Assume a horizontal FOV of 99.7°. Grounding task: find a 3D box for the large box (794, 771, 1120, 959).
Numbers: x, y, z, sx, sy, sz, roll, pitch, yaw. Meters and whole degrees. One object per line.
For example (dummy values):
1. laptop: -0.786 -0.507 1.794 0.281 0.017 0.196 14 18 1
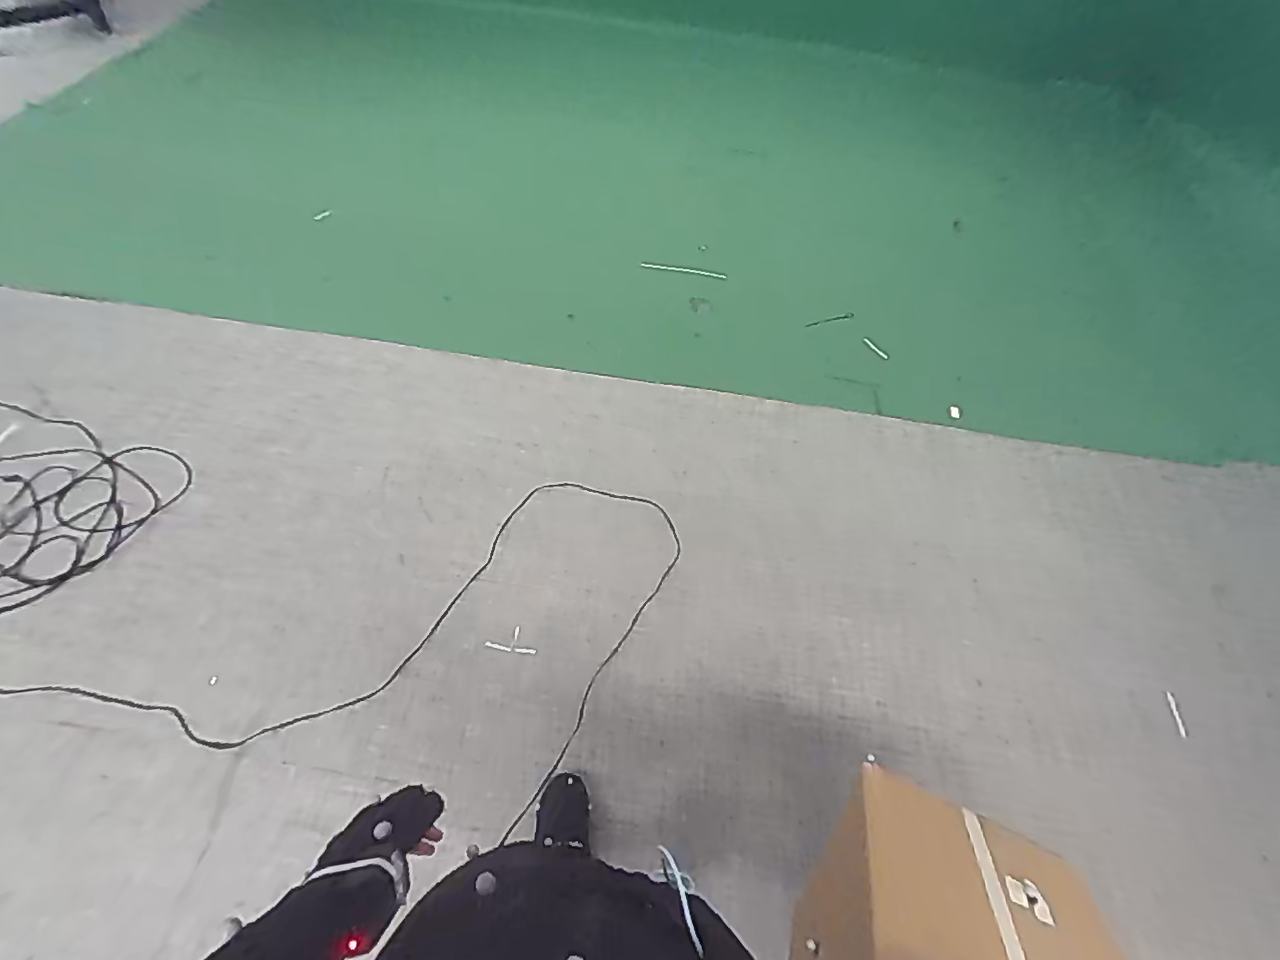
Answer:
1. large box: 0.383 0.676 0.669 0.320 0.408 0.320 22 103 16
